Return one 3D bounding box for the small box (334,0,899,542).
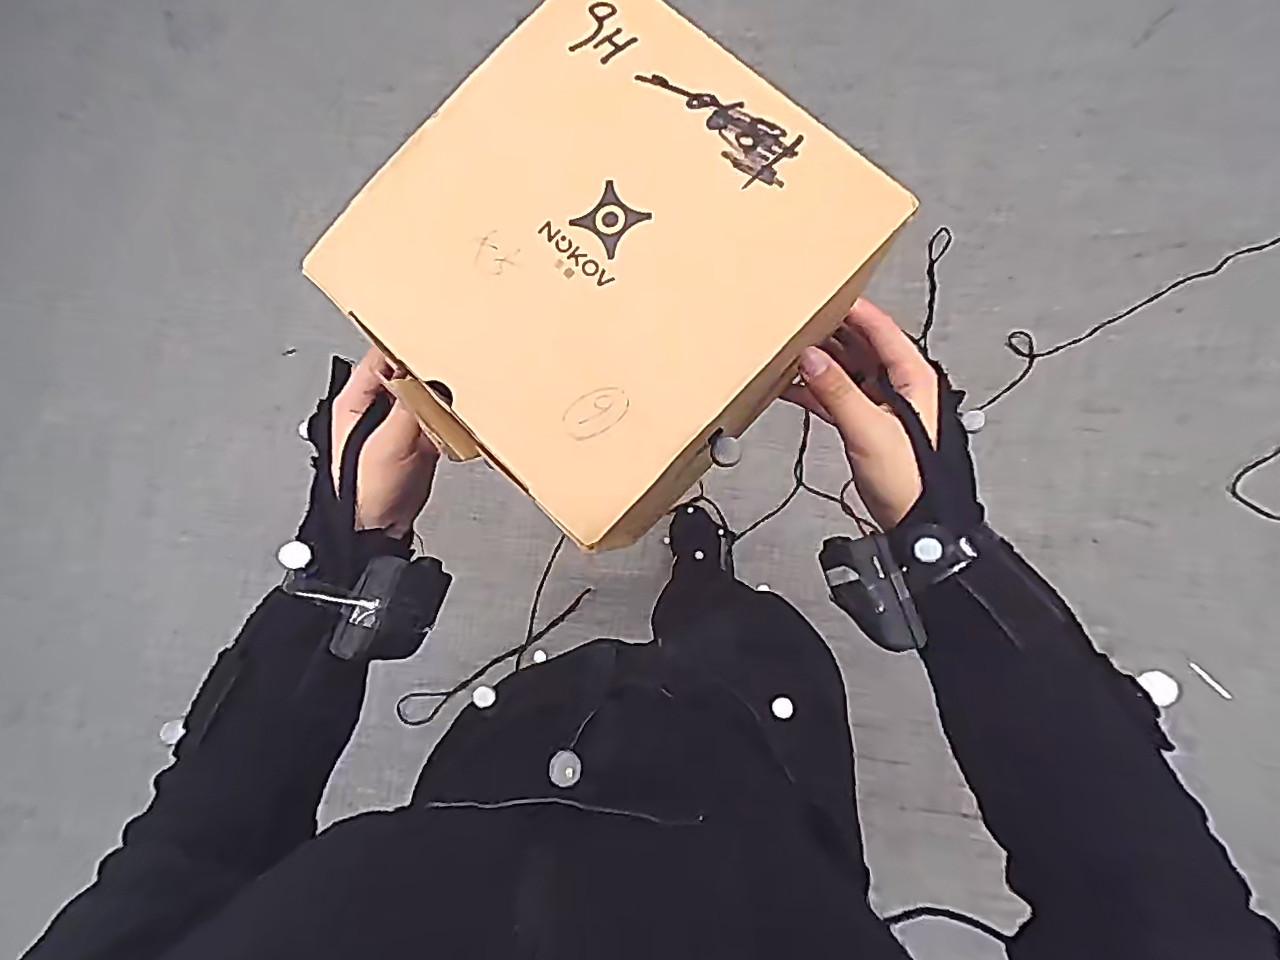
[{"bbox_3d":[-0.006,-0.084,0.295,0.168,0.176,0.179,44,90,8],"label":"small box"}]
